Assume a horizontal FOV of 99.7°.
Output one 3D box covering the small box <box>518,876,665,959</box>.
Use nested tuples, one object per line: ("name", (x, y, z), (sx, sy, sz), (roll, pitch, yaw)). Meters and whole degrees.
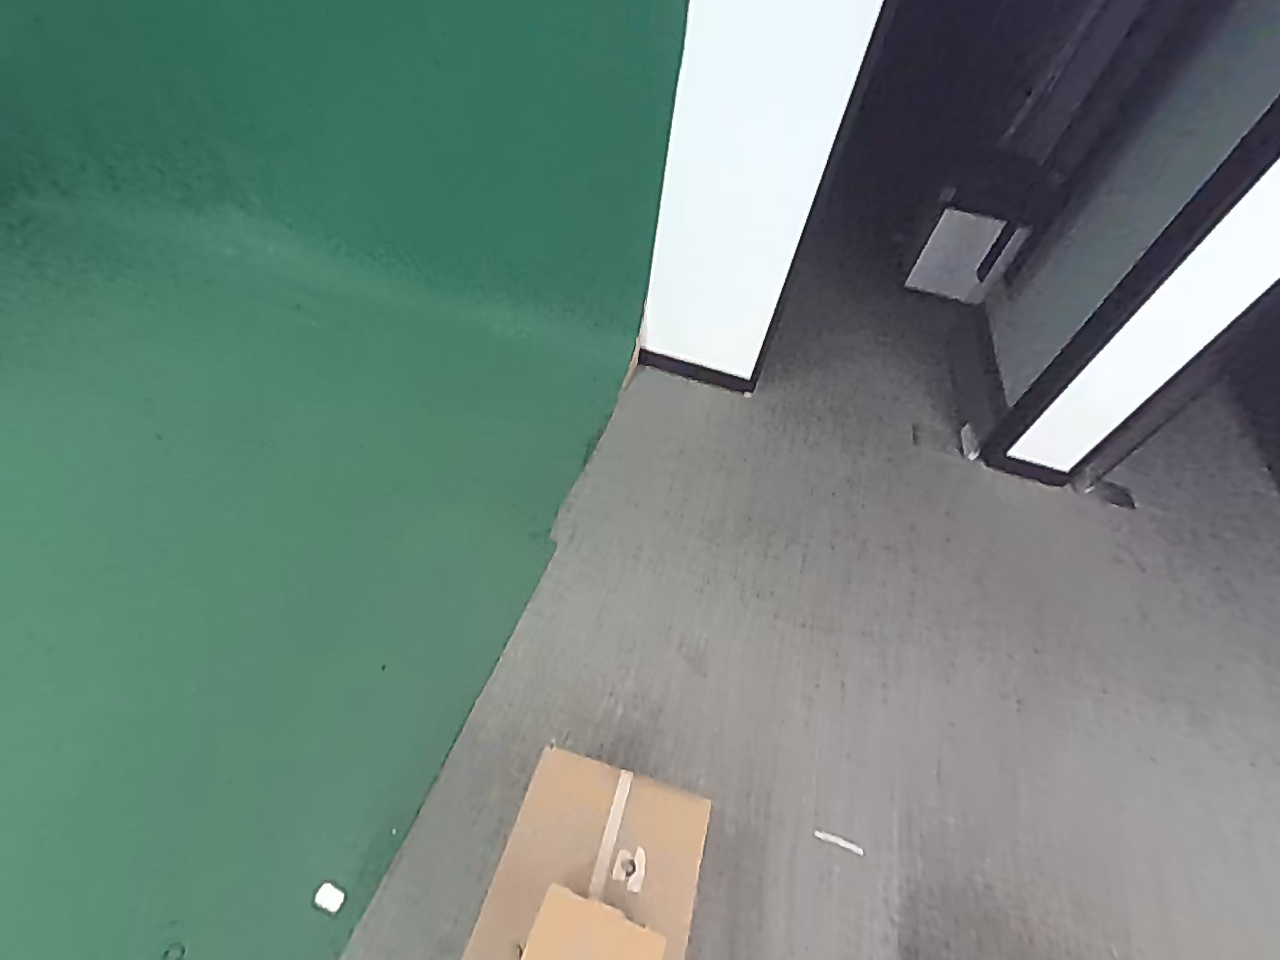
("small box", (-0.081, 0.659, 0.705), (0.168, 0.176, 0.179), (20, 48, 7))

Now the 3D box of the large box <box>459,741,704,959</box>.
("large box", (-0.100, 0.754, 0.947), (0.320, 0.320, 0.408), (17, 48, 6))
